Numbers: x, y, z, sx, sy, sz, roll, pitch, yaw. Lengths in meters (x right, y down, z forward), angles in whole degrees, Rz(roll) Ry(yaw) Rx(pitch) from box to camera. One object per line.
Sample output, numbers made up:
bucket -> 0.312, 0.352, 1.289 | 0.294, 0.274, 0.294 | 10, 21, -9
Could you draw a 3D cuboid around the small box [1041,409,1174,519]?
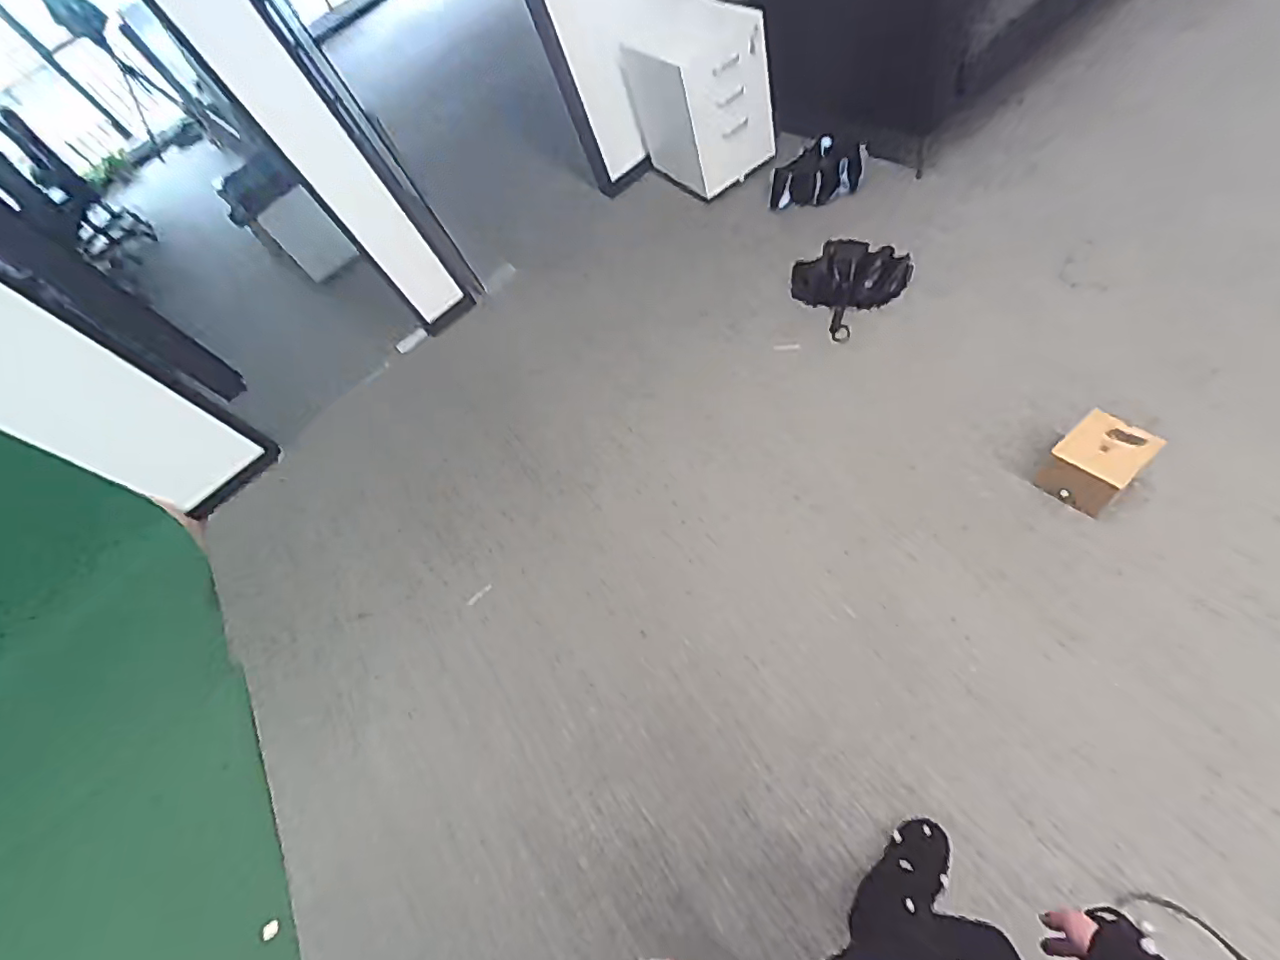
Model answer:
small box -> 1.156, -0.037, 1.357 | 0.179, 0.176, 0.168 | -42, 55, -6
